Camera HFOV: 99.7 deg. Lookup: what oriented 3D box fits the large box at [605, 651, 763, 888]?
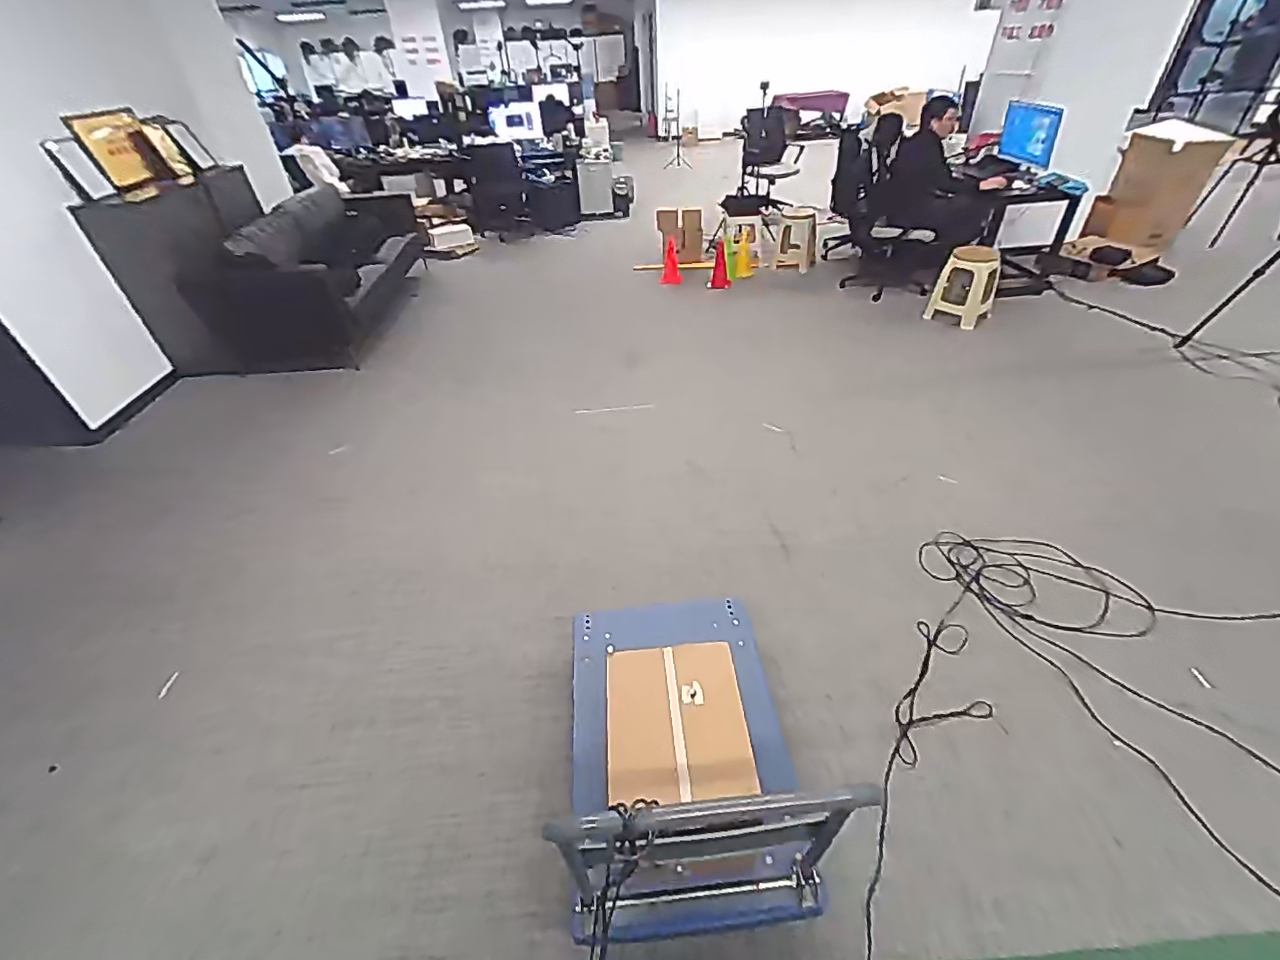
[{"bbox_3d":[0.087,0.685,1.306,0.320,0.320,0.408,-4,37,-1],"label":"large box"}]
